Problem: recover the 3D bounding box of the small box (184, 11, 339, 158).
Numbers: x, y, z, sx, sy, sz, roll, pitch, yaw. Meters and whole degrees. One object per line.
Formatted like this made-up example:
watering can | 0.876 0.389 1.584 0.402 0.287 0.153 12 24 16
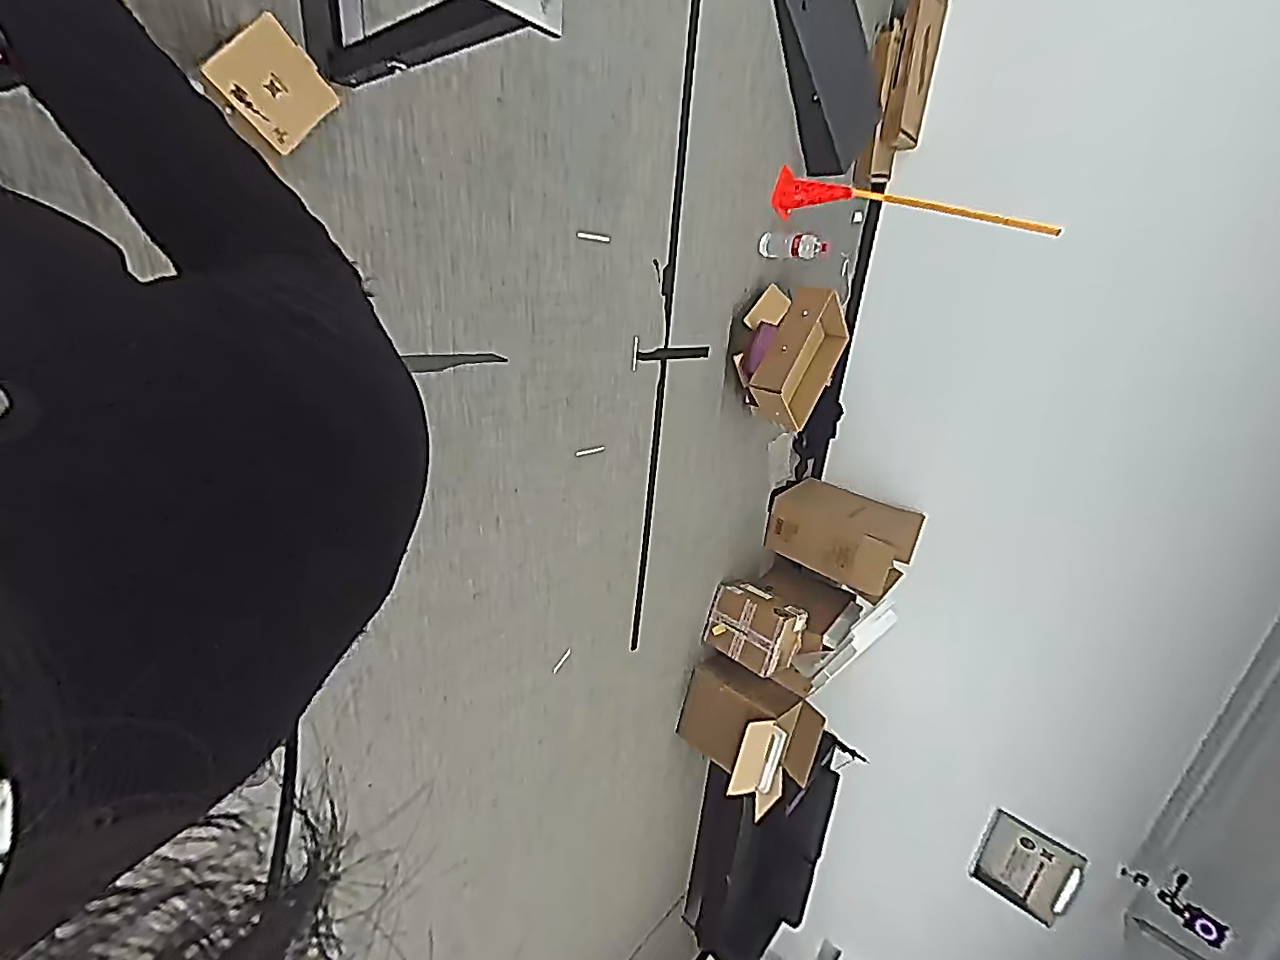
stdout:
small box | -0.752 -0.774 1.072 0.179 0.176 0.168 -57 141 -14
